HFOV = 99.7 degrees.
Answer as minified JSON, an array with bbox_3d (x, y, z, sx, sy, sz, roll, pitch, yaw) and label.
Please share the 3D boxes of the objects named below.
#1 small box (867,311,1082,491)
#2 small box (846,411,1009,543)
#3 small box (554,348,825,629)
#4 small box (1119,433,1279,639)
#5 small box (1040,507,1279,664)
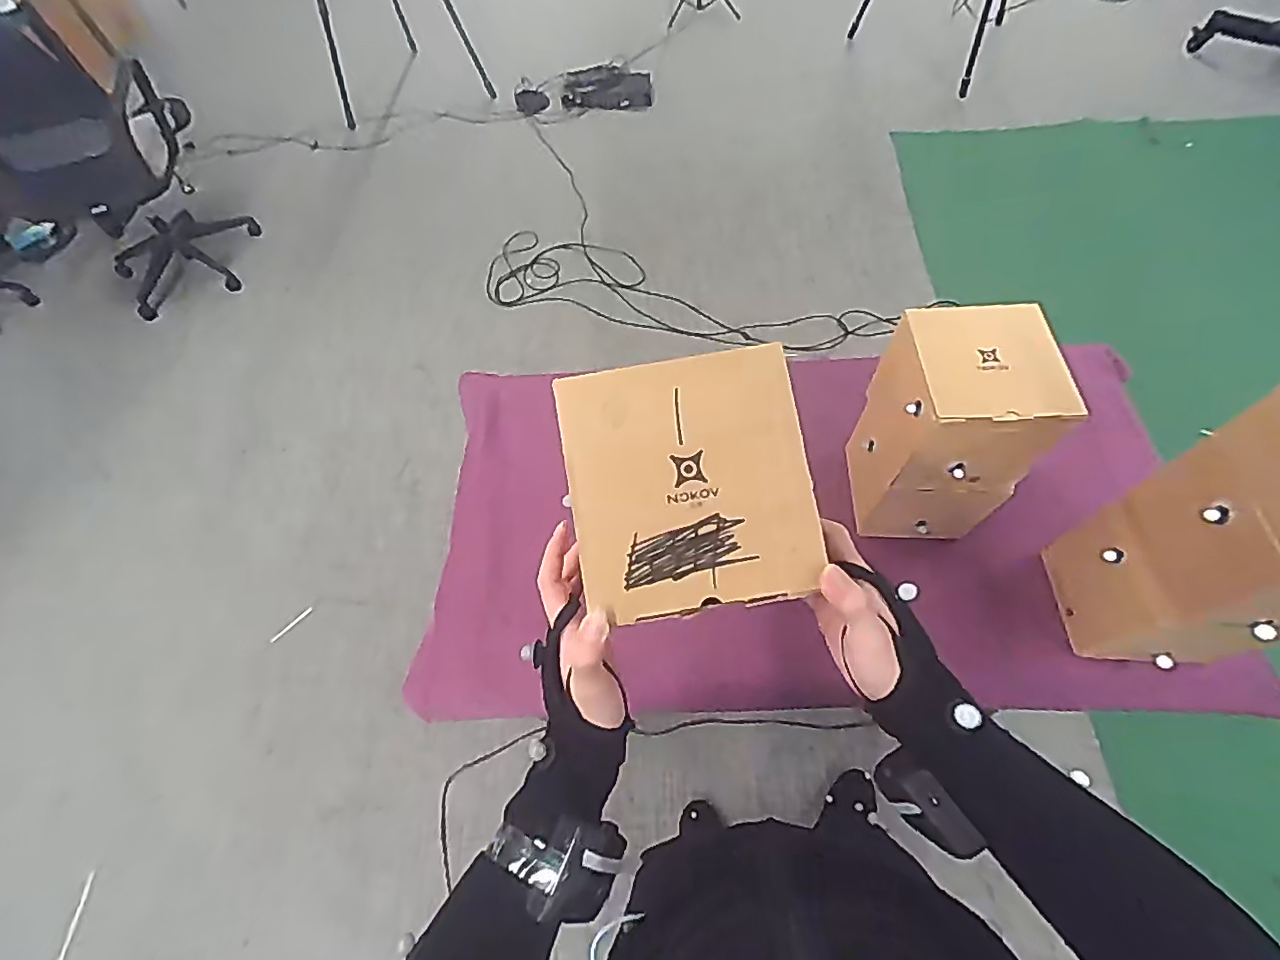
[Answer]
[{"bbox_3d":[0.420,-0.100,0.719,0.168,0.176,0.179,-1,62,3],"label":"small box"},{"bbox_3d":[0.437,-0.016,0.857,0.168,0.176,0.179,1,61,6],"label":"small box"},{"bbox_3d":[0.034,0.013,0.450,0.168,0.176,0.179,-10,82,-1],"label":"small box"},{"bbox_3d":[0.696,0.066,0.602,0.168,0.176,0.179,0,60,7],"label":"small box"},{"bbox_3d":[0.706,0.150,0.742,0.179,0.176,0.168,1,60,5],"label":"small box"}]
